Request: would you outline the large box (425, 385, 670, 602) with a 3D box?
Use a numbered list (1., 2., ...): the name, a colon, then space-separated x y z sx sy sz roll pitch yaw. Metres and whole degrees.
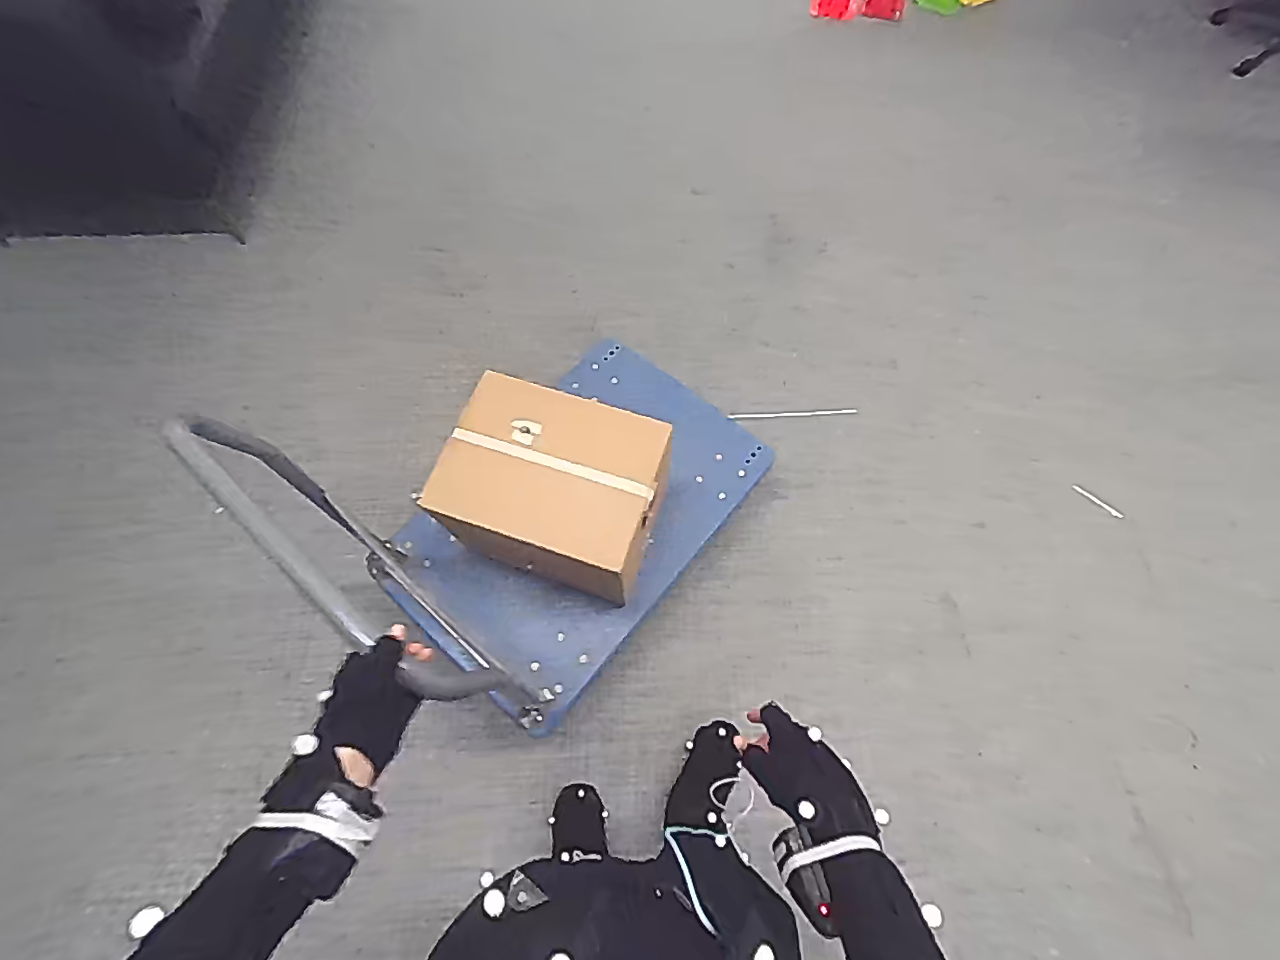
1. large box: -0.166 0.043 1.174 0.408 0.320 0.320 16 67 8
